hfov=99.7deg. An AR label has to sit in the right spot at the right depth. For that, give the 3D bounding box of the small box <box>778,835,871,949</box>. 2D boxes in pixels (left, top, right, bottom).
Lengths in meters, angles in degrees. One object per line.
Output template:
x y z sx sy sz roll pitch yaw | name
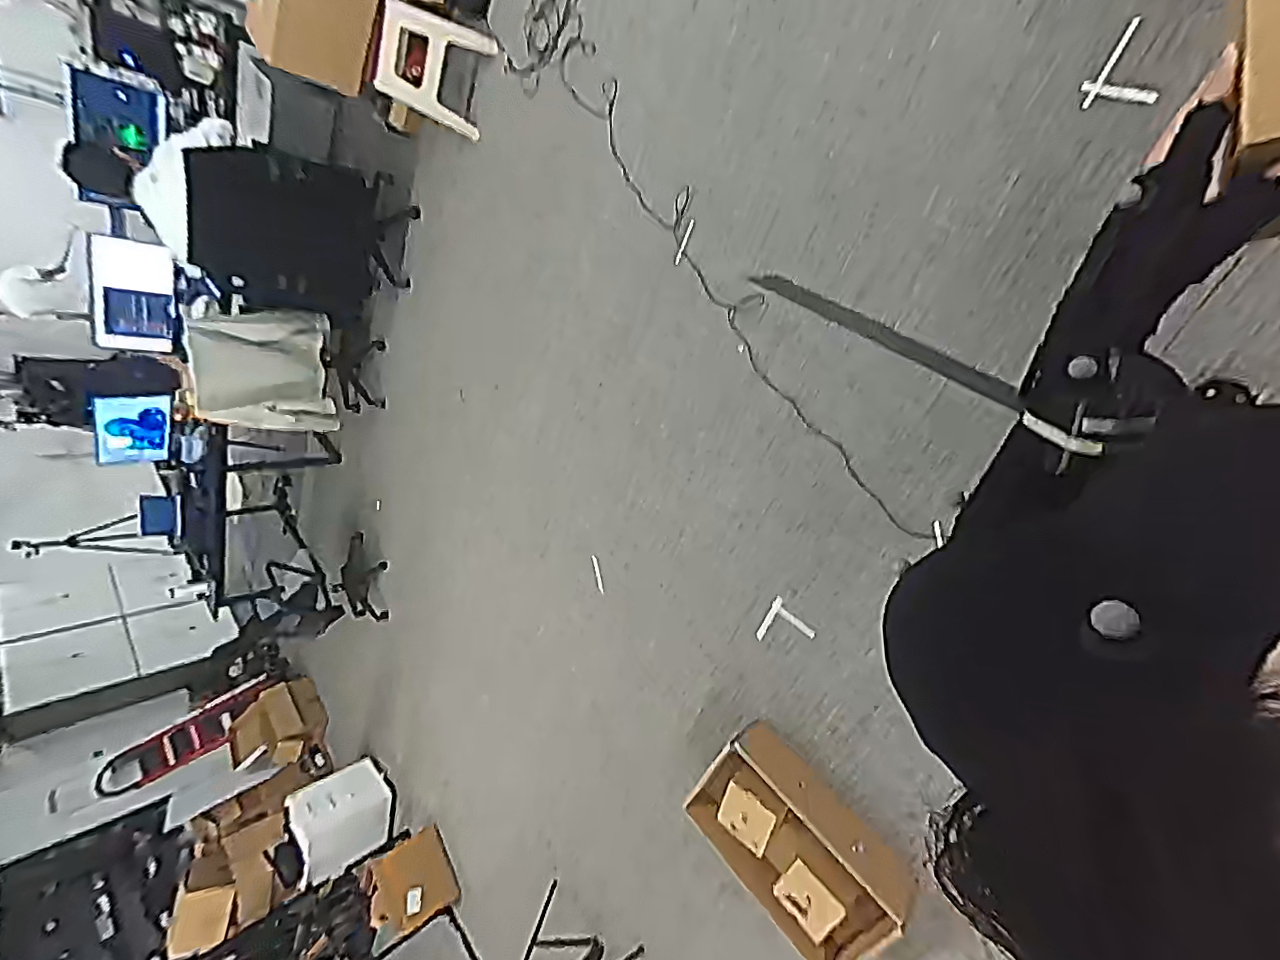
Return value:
0.546 1.203 1.587 0.168 0.176 0.179 38 120 32 | small box

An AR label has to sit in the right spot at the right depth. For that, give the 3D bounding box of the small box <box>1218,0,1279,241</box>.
0.460 -0.263 0.299 0.179 0.176 0.168 1 86 43 | small box
